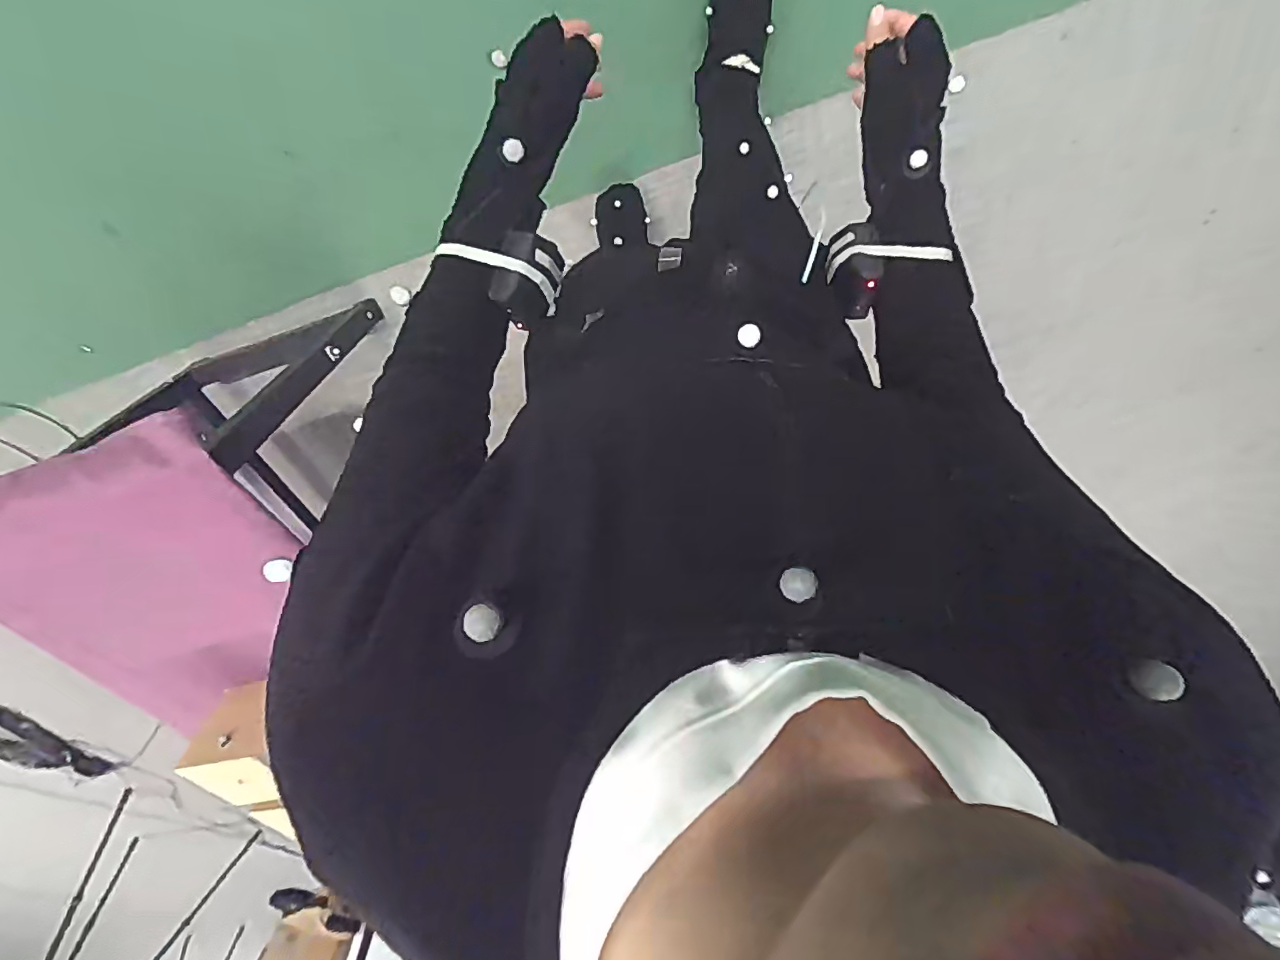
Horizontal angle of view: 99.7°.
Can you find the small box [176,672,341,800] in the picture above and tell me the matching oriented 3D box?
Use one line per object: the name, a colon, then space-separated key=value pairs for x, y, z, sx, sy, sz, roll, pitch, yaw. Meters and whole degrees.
small box: x=-0.755 y=0.515 z=1.092 sx=0.179 sy=0.176 sz=0.168 roll=-13 pitch=126 yaw=10
